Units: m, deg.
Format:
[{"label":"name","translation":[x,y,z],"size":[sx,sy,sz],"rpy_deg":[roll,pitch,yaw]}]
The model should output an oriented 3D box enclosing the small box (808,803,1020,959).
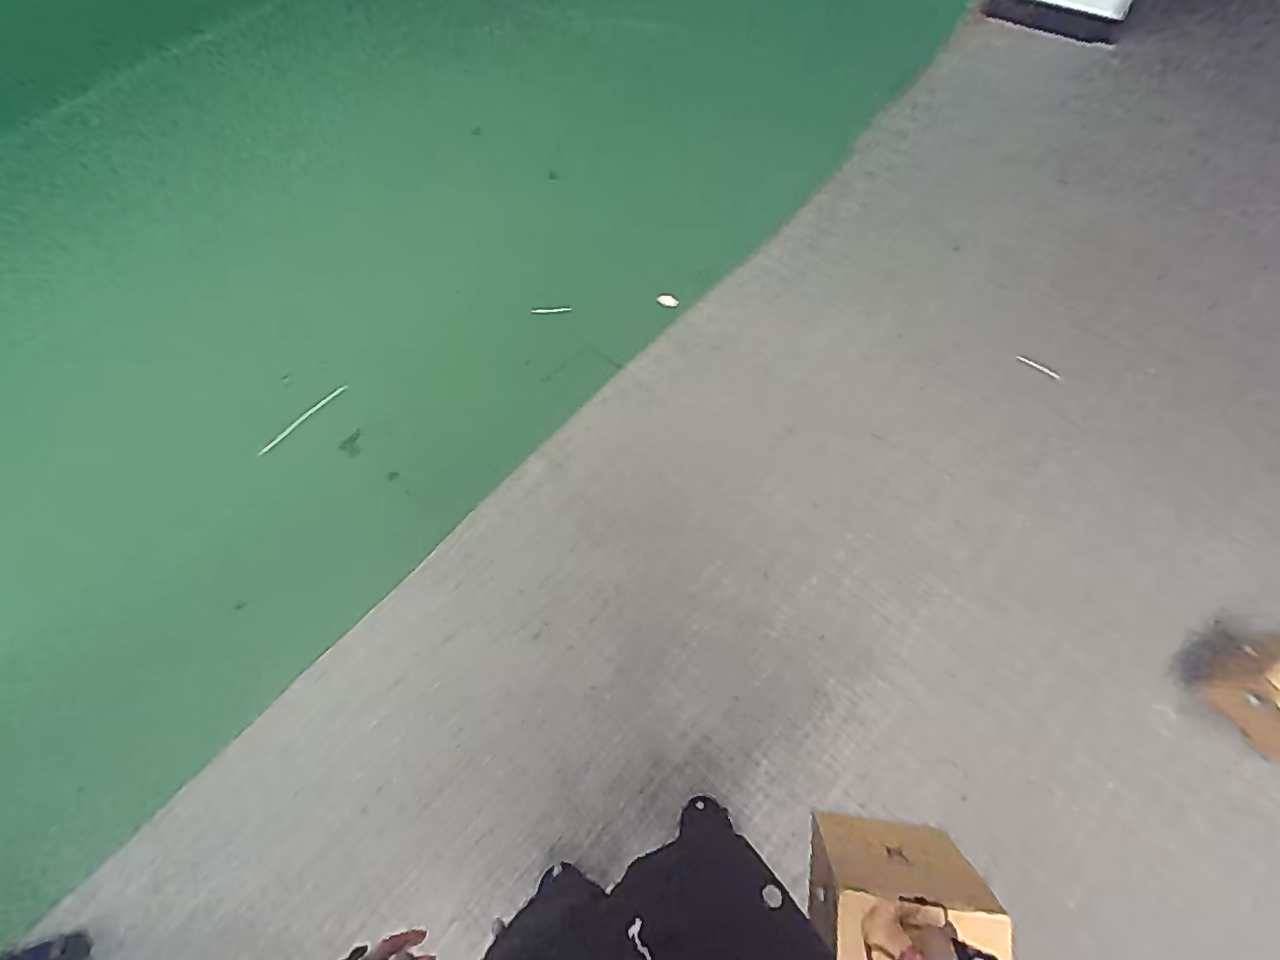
[{"label":"small box","translation":[0.291,0.506,0.609],"size":[0.168,0.179,0.176],"rpy_deg":[5,86,8]}]
